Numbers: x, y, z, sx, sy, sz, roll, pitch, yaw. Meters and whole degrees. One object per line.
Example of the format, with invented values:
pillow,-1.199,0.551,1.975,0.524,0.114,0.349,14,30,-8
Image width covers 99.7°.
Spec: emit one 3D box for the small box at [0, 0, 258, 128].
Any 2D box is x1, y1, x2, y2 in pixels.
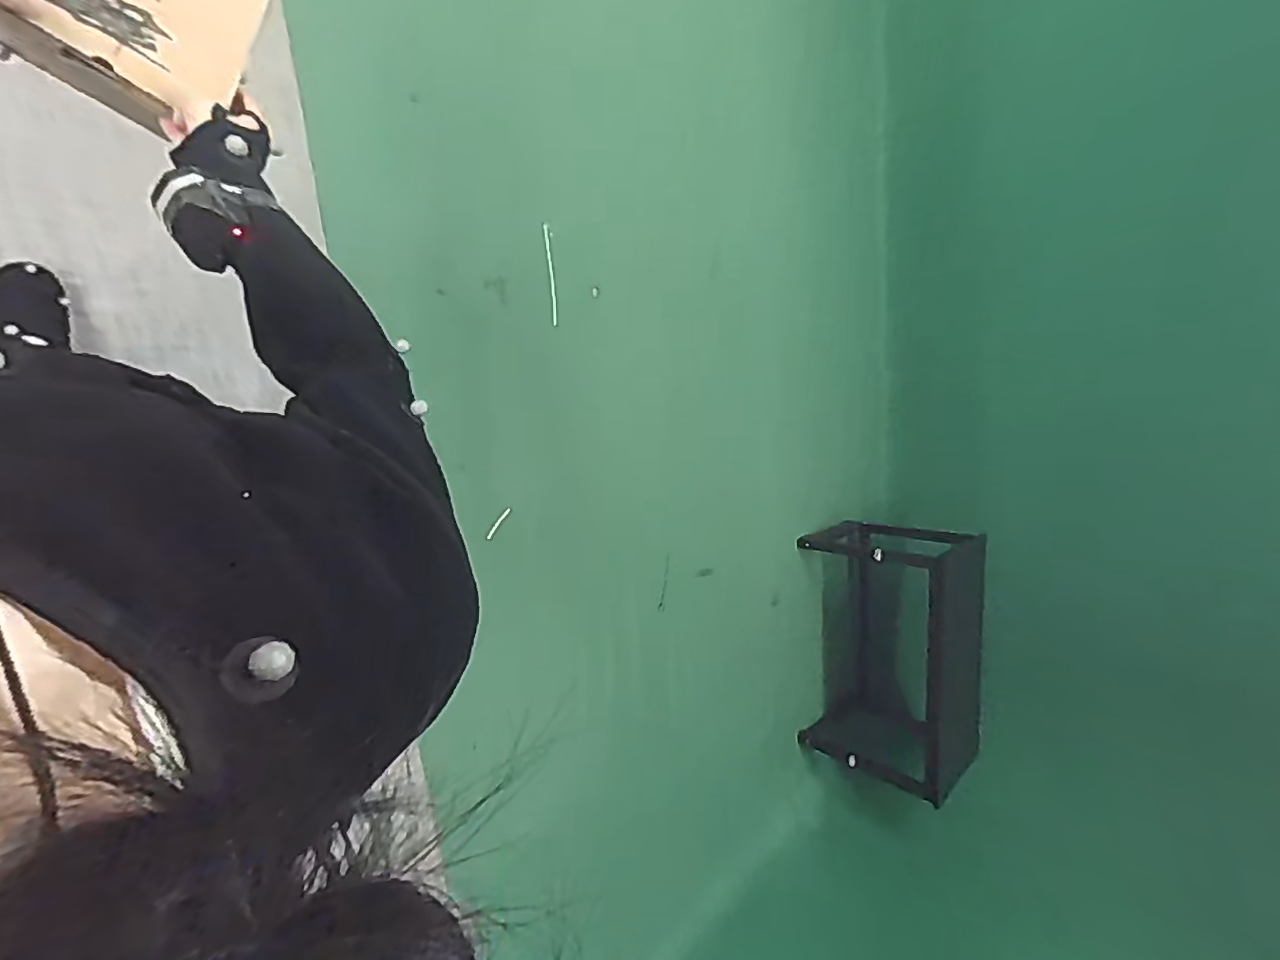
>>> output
small box,-0.474,-0.451,0.483,0.168,0.176,0.179,22,90,-55
